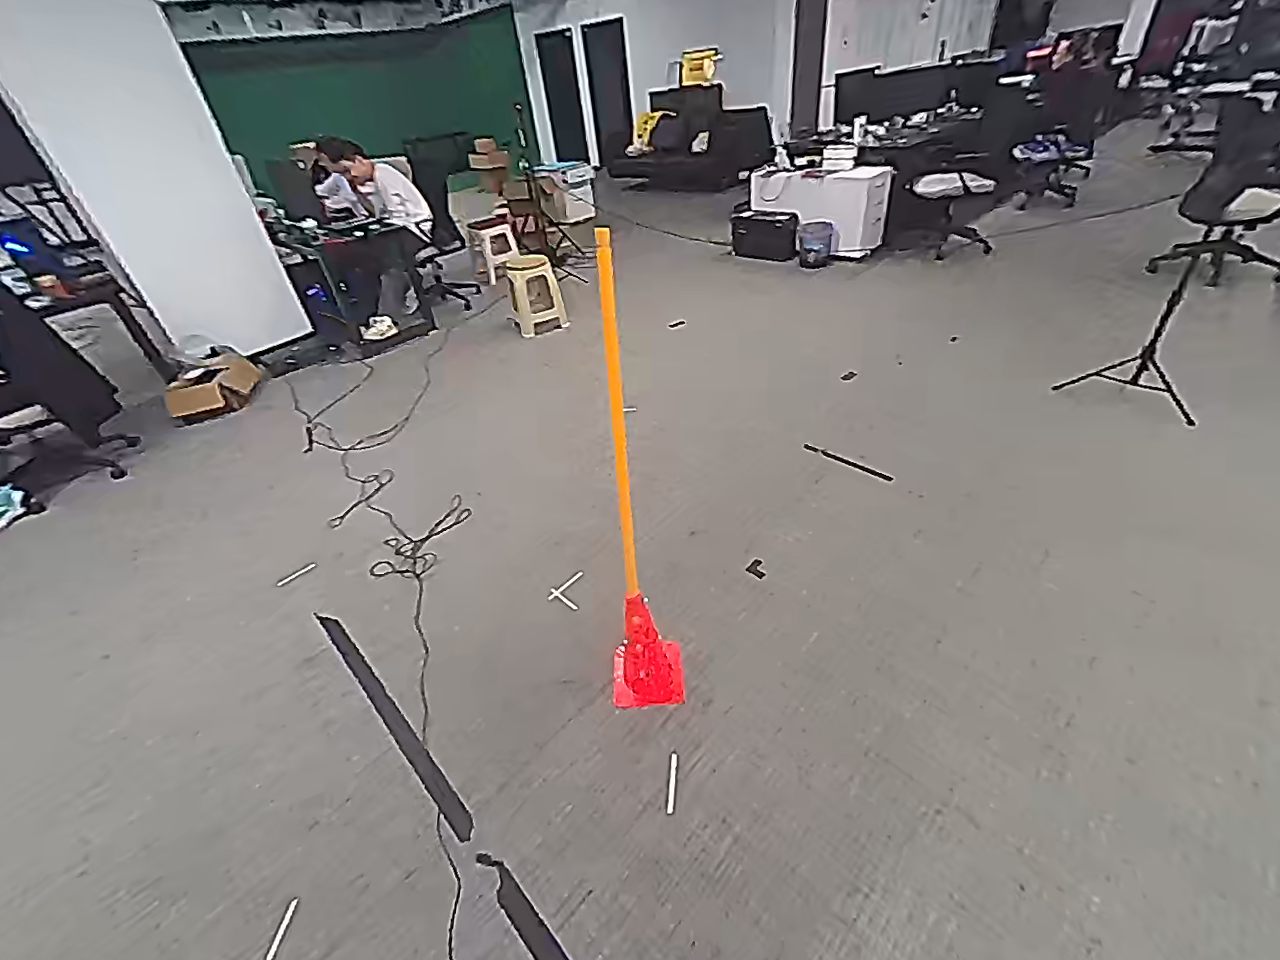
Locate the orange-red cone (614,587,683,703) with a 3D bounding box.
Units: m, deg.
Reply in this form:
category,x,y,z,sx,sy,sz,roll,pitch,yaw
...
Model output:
category,x,y,z,sx,sy,sz,roll,pitch,yaw
orange-red cone,0.002,0.420,1.464,0.198,0.360,0.199,-6,38,4
